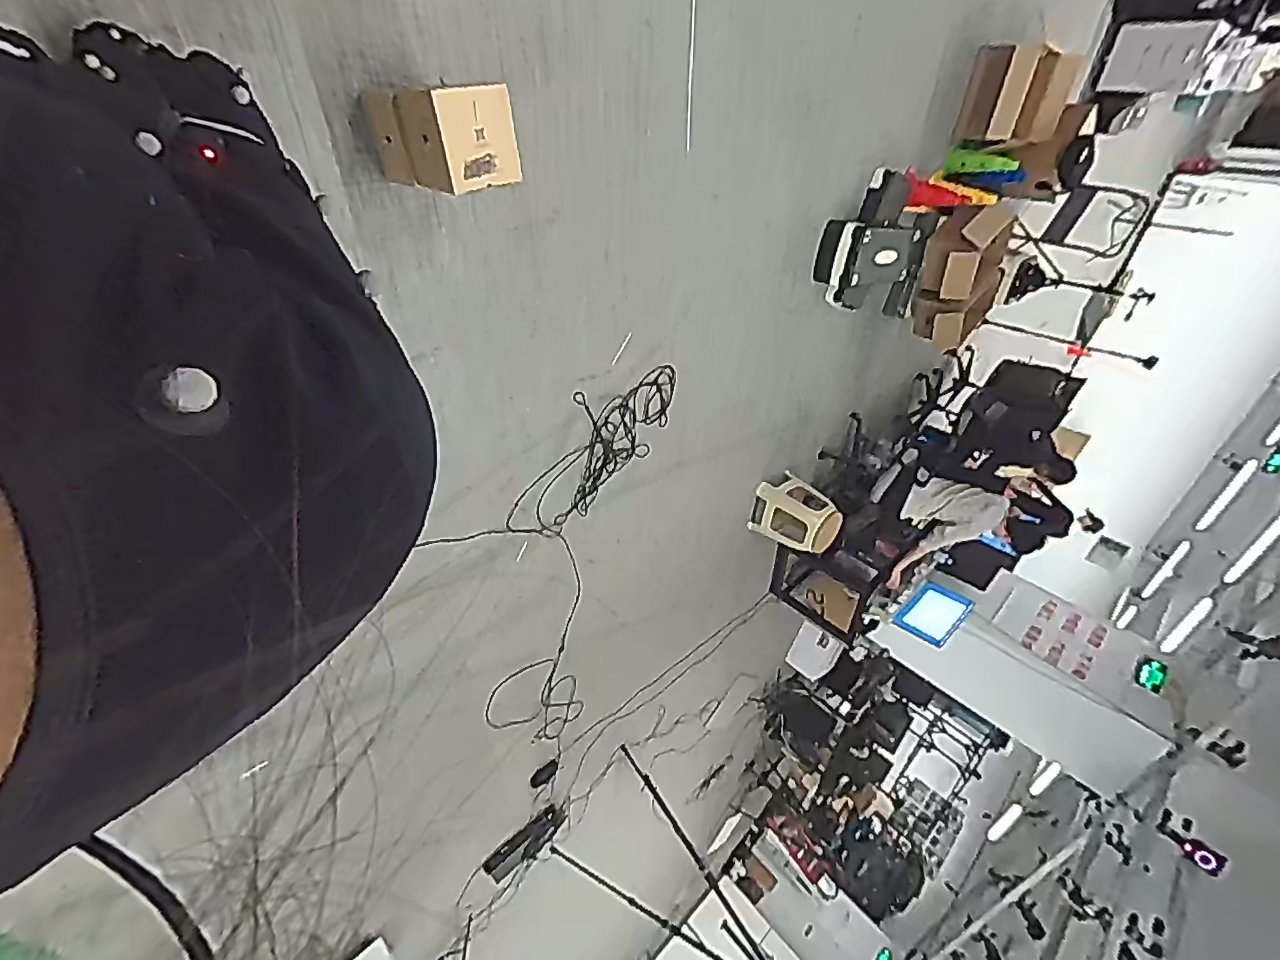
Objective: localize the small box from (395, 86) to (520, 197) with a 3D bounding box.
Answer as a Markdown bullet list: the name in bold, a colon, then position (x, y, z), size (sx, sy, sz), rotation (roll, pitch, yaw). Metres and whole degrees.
- **small box**: position (-0.376, -0.706, 1.121), size (0.168, 0.176, 0.179), rotation (-31, 135, -31)
